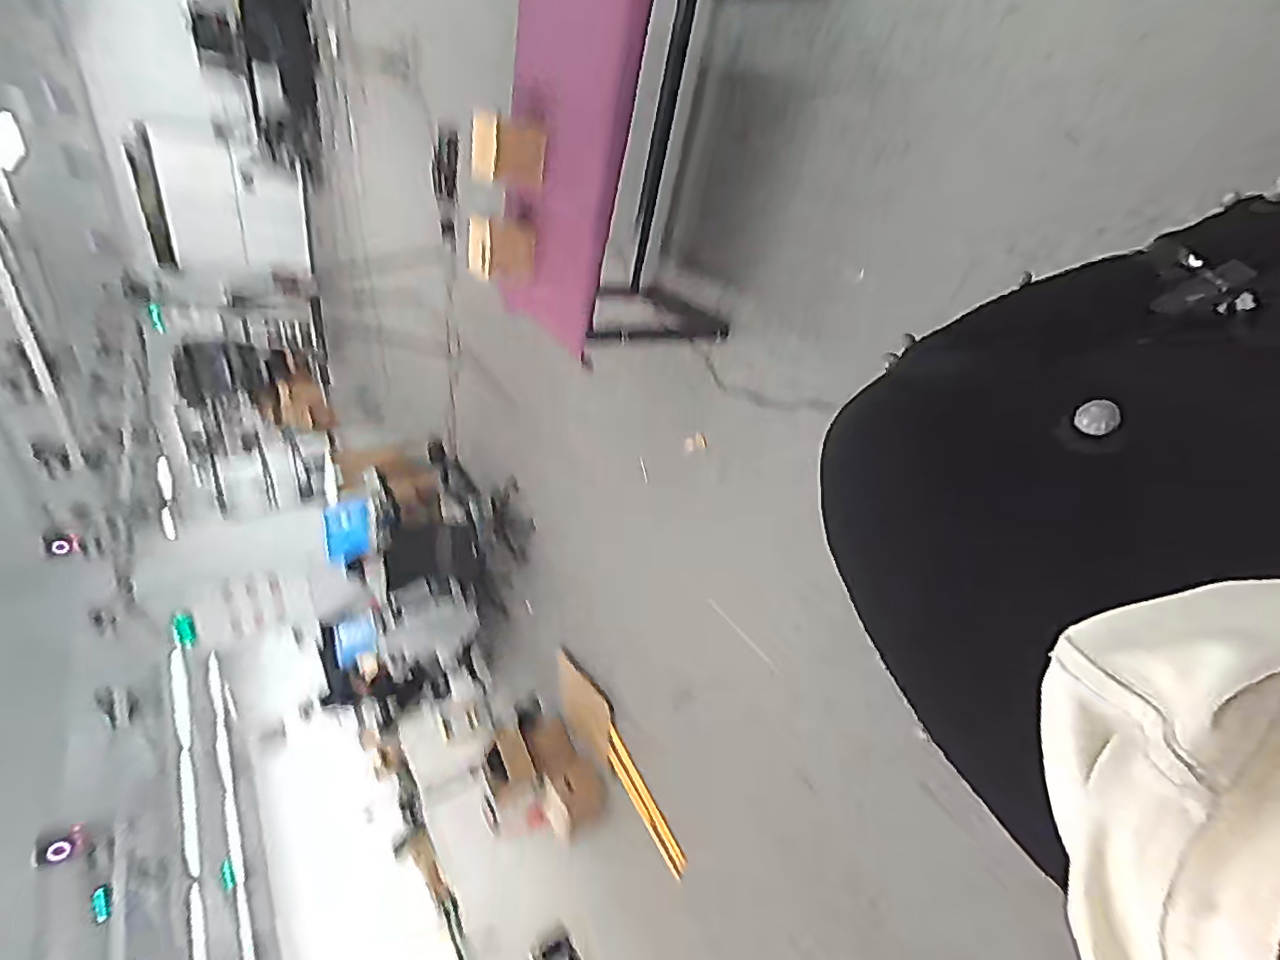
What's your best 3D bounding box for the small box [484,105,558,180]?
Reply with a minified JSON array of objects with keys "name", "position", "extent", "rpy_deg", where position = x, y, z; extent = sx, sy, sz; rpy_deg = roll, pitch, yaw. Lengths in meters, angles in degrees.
[{"name":"small box","position":[-0.383,-1.078,1.732],"extent":[0.179,0.176,0.168],"rpy_deg":[43,132,38]}]
